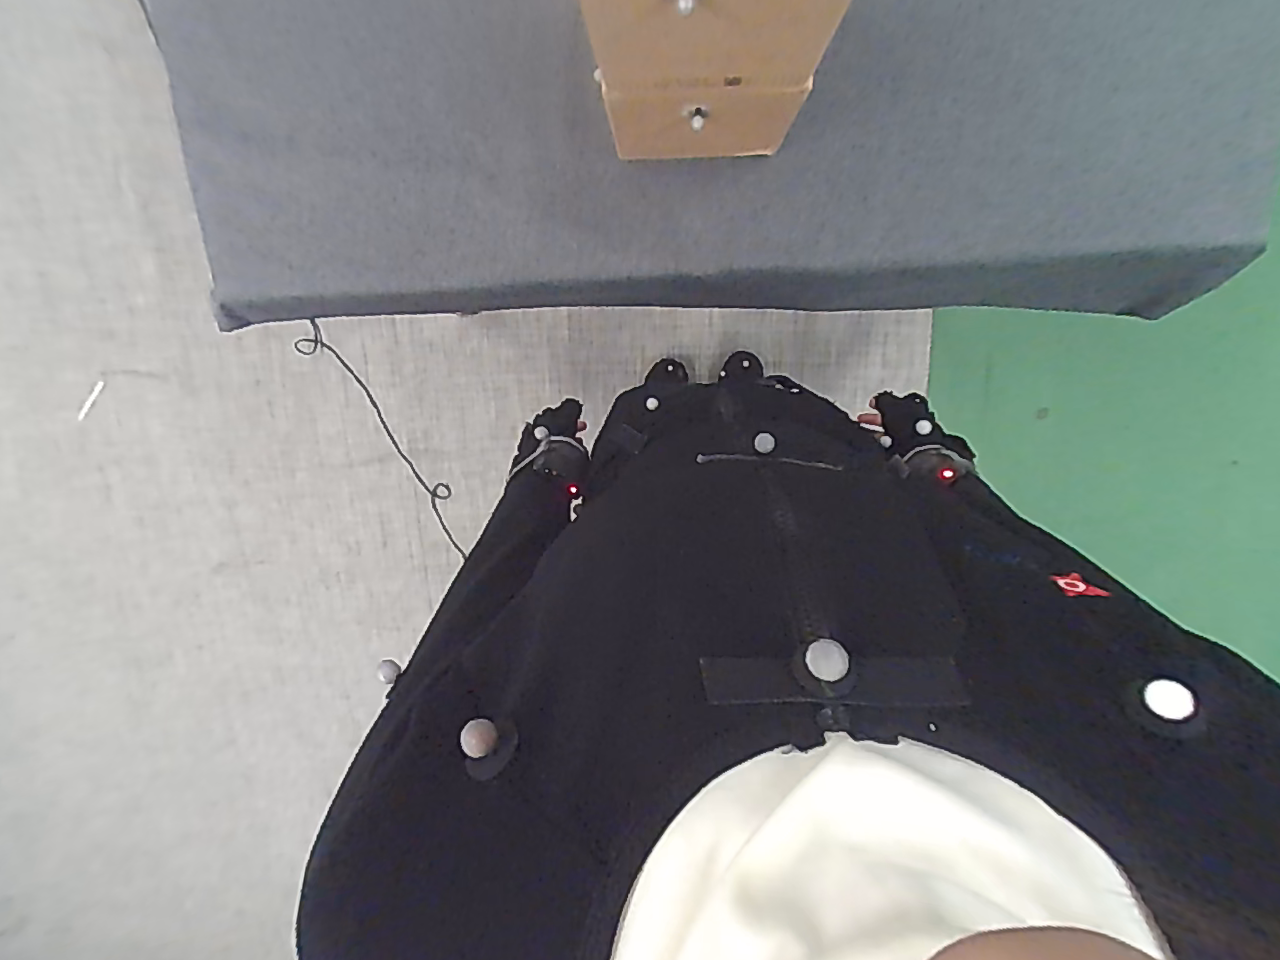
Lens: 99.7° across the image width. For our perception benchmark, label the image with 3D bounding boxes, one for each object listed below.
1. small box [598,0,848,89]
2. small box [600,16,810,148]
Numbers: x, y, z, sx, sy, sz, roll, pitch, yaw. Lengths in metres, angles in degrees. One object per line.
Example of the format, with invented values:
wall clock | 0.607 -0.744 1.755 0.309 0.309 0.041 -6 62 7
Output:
small box | 0.051 -0.395 0.354 0.168 0.176 0.179 -1 105 3
small box | 0.058 -0.432 0.510 0.179 0.176 0.168 0 105 3
